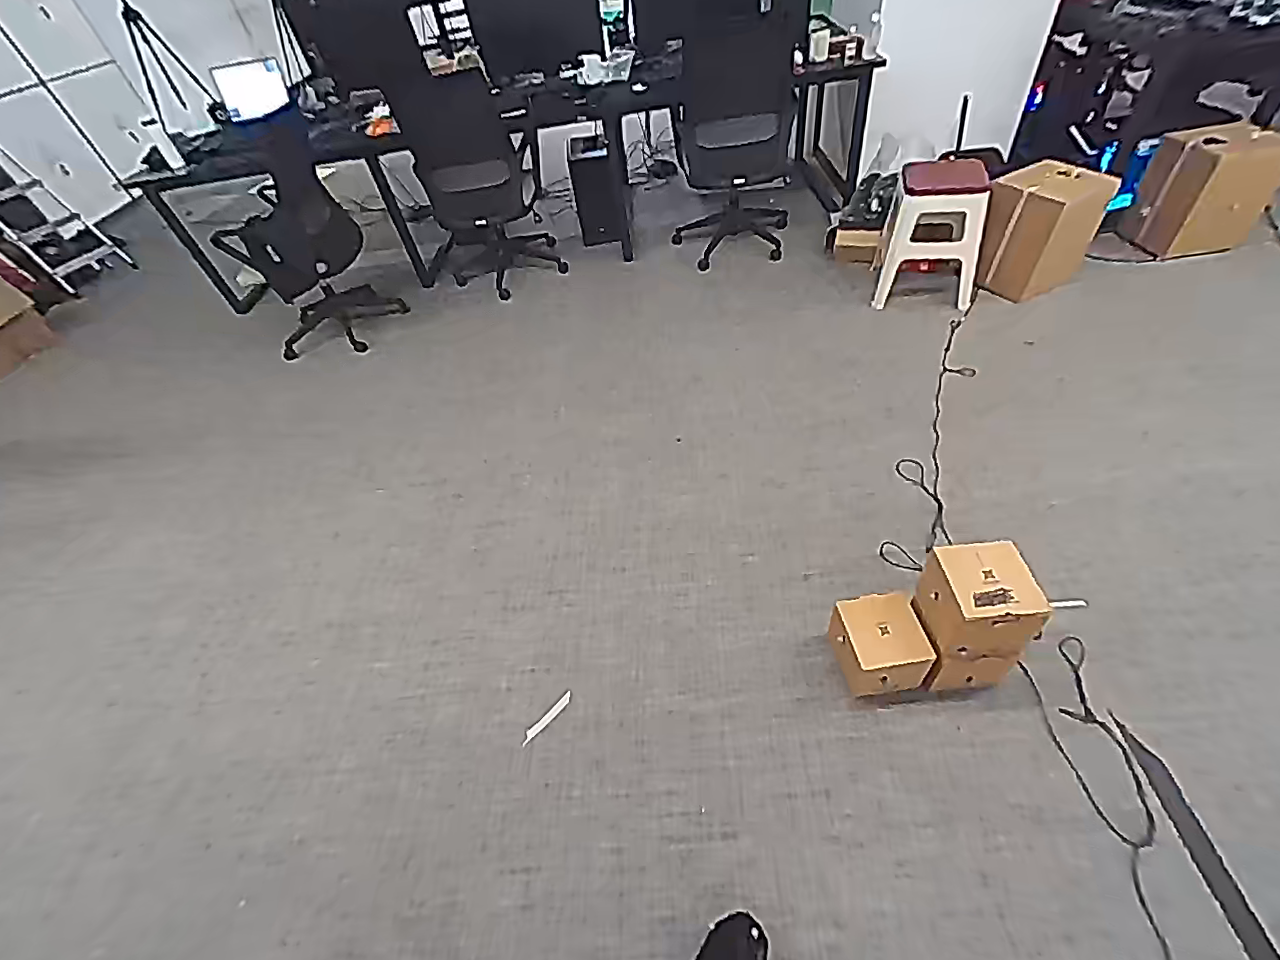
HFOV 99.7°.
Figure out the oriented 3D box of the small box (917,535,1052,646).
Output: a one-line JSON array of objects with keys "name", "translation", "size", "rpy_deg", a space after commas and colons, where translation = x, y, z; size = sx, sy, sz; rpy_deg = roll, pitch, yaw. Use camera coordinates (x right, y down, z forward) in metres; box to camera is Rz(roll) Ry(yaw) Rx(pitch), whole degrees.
[{"name": "small box", "translation": [0.721, 0.242, 1.155], "size": [0.168, 0.176, 0.179], "rpy_deg": [-6, 46, 5]}]
